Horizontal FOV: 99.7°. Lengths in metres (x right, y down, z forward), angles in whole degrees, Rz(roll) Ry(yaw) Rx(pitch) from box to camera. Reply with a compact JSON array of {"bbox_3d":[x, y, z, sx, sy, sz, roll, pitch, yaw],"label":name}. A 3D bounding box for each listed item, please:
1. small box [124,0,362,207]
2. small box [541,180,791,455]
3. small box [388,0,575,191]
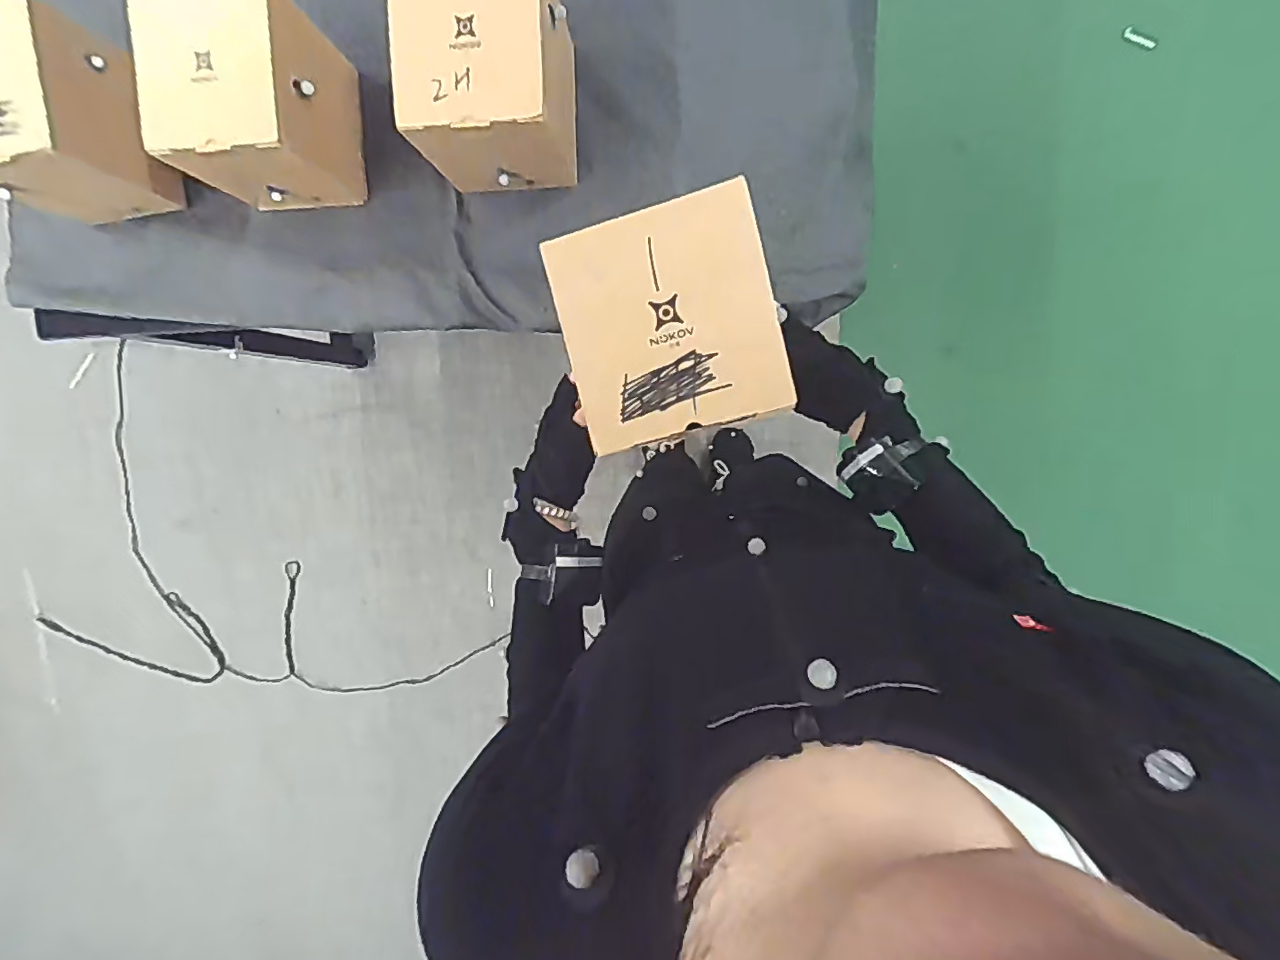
[{"bbox_3d":[-0.471,-0.463,0.669,0.168,0.176,0.179,-1,97,4],"label":"small box"},{"bbox_3d":[0.031,-0.133,0.497,0.168,0.176,0.179,-14,96,9],"label":"small box"},{"bbox_3d":[-0.175,-0.471,0.641,0.168,0.176,0.179,0,97,5],"label":"small box"}]
